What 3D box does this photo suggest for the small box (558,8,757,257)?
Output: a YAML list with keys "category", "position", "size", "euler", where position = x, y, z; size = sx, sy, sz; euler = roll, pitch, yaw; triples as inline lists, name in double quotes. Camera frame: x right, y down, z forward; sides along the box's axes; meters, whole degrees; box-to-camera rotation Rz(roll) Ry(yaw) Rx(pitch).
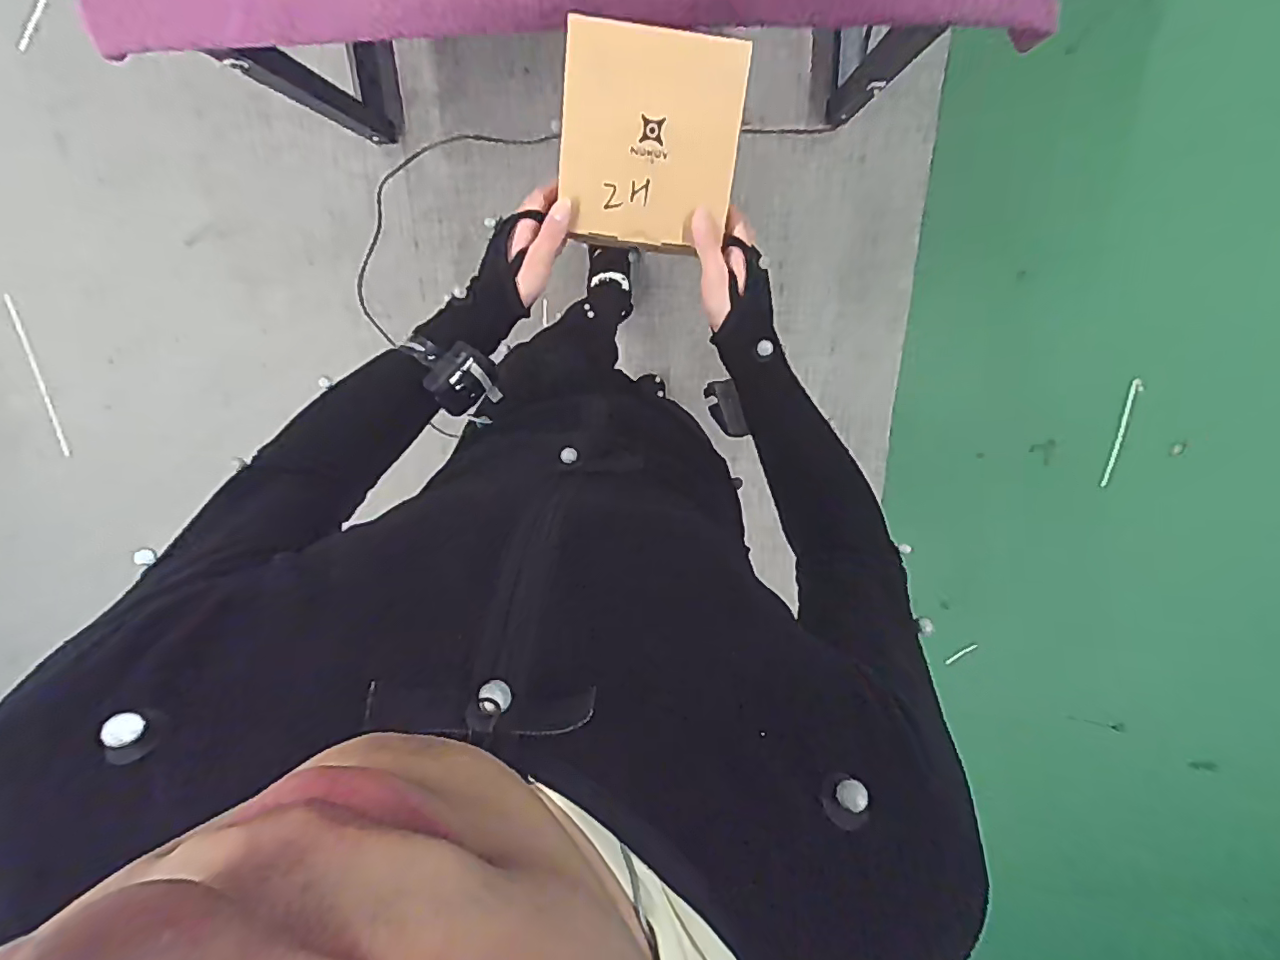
- category: "small box"
  position: [0.009, -0.343, 0.572]
  size: [0.168, 0.176, 0.179]
  euler: [6, 111, -4]
